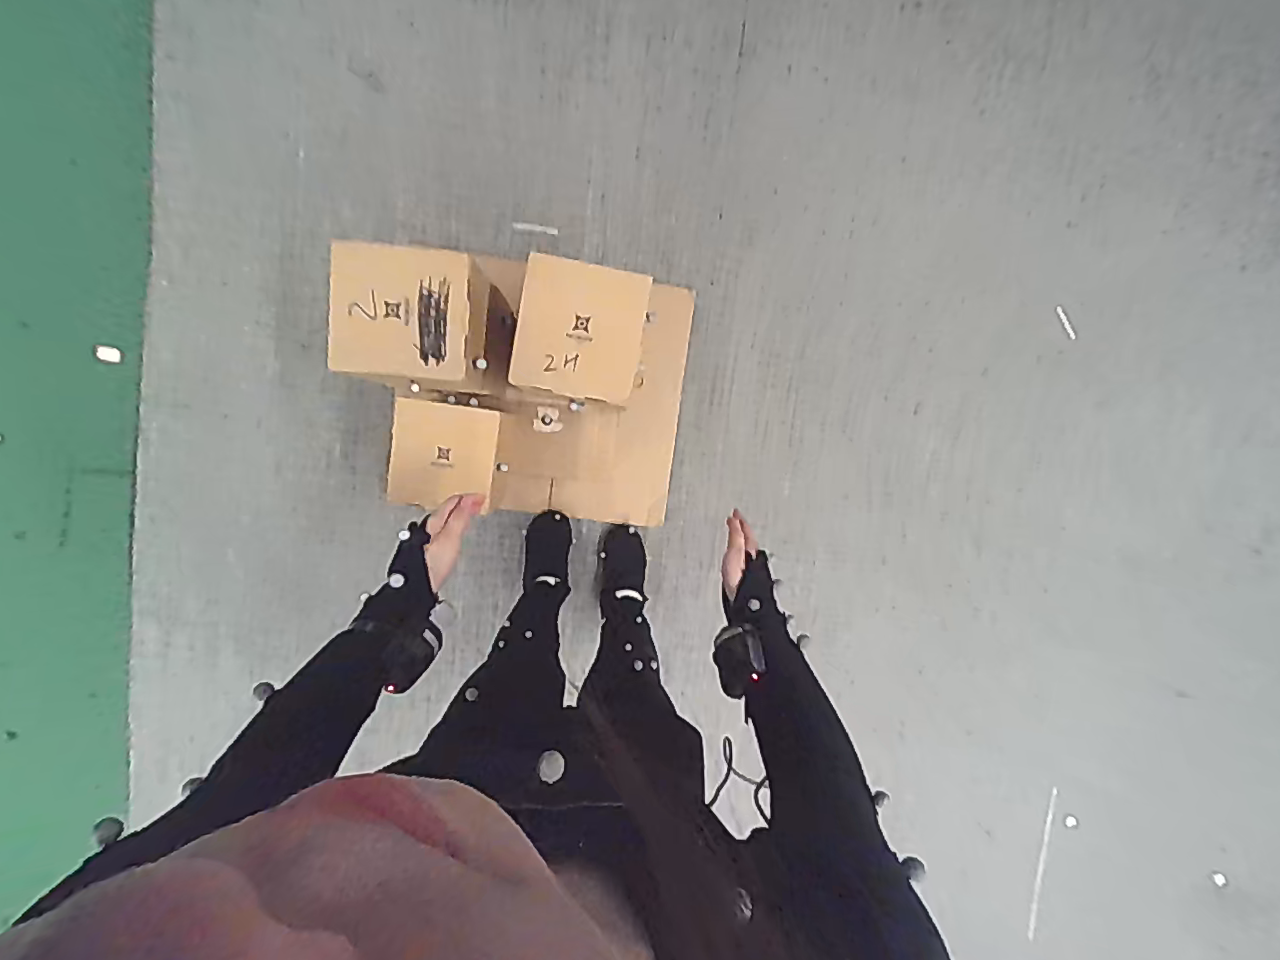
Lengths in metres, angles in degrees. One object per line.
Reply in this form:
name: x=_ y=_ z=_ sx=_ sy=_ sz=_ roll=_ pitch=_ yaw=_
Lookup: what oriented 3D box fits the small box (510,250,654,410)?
small box: x=-0.081 y=-0.206 z=0.791 sx=0.168 sy=0.176 sz=0.179 roll=11 pitch=94 yaw=-3
